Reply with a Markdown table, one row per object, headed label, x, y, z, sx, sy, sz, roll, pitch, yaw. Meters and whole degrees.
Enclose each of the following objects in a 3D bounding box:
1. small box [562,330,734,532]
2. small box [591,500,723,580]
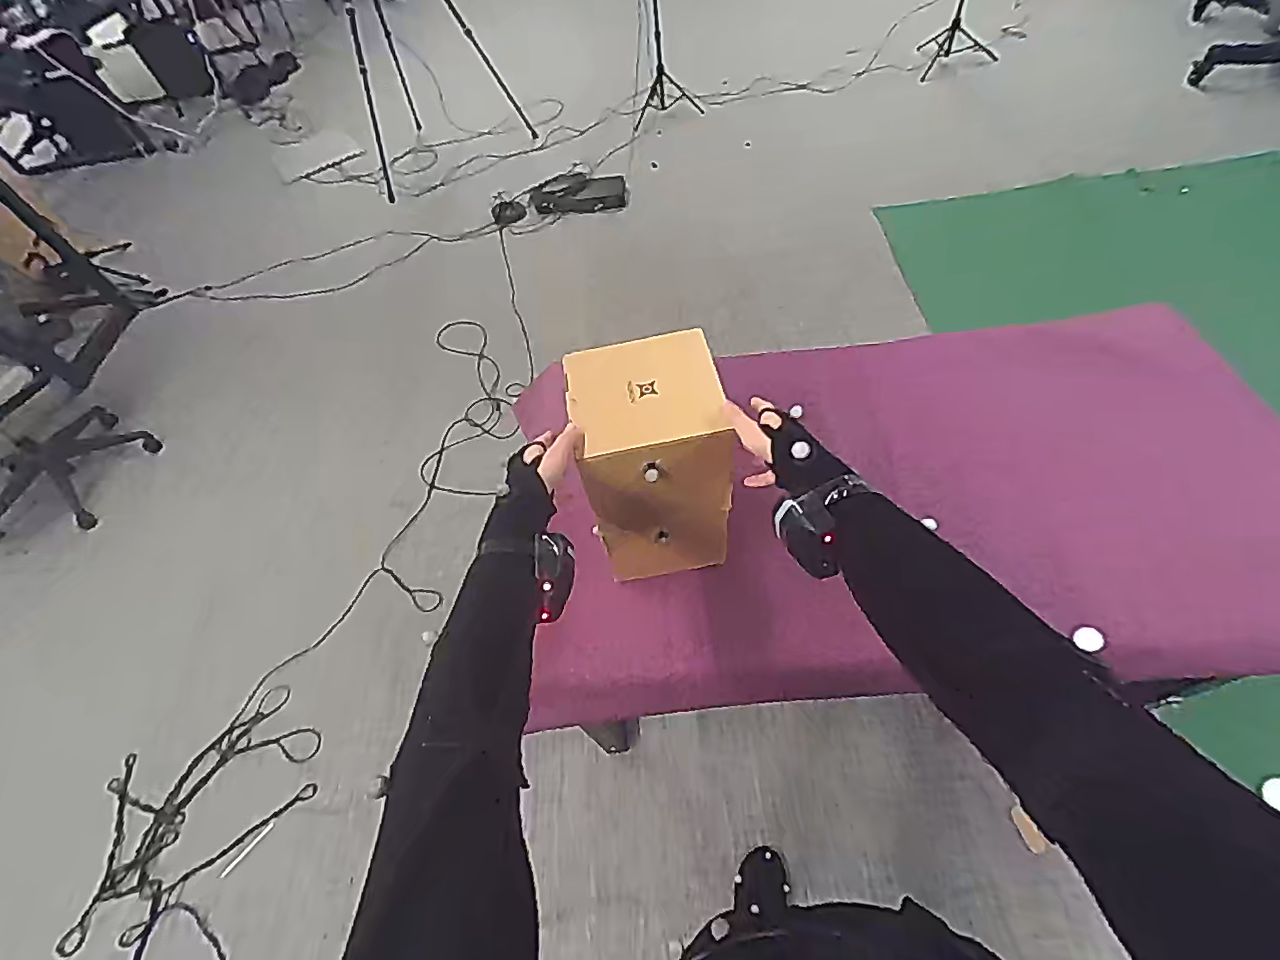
| label | x | y | z | sx | sy | sz | roll | pitch | yaw |
| --- | --- | --- | --- | --- | --- | --- | --- | --- | --- |
| small box | 0.011 | -0.054 | 0.675 | 0.179 | 0.176 | 0.168 | -12 | 55 | 1 |
| small box | 0.025 | 0.035 | 0.809 | 0.179 | 0.176 | 0.168 | -10 | 55 | 1 |
